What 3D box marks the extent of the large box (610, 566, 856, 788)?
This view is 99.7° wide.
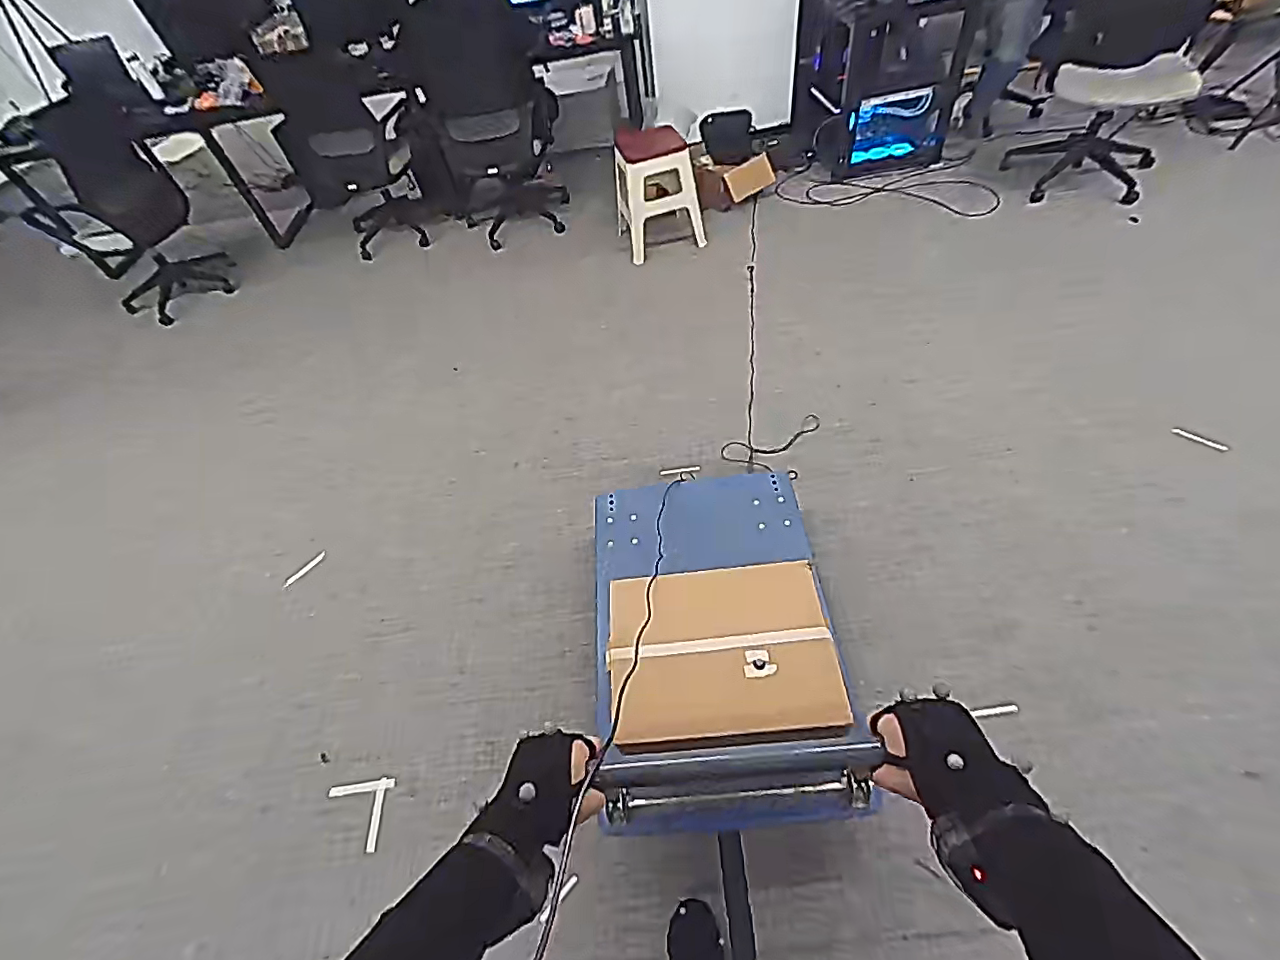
[{"bbox_3d":[0.162,0.405,1.091,0.408,0.320,0.320,-7,51,3],"label":"large box"}]
